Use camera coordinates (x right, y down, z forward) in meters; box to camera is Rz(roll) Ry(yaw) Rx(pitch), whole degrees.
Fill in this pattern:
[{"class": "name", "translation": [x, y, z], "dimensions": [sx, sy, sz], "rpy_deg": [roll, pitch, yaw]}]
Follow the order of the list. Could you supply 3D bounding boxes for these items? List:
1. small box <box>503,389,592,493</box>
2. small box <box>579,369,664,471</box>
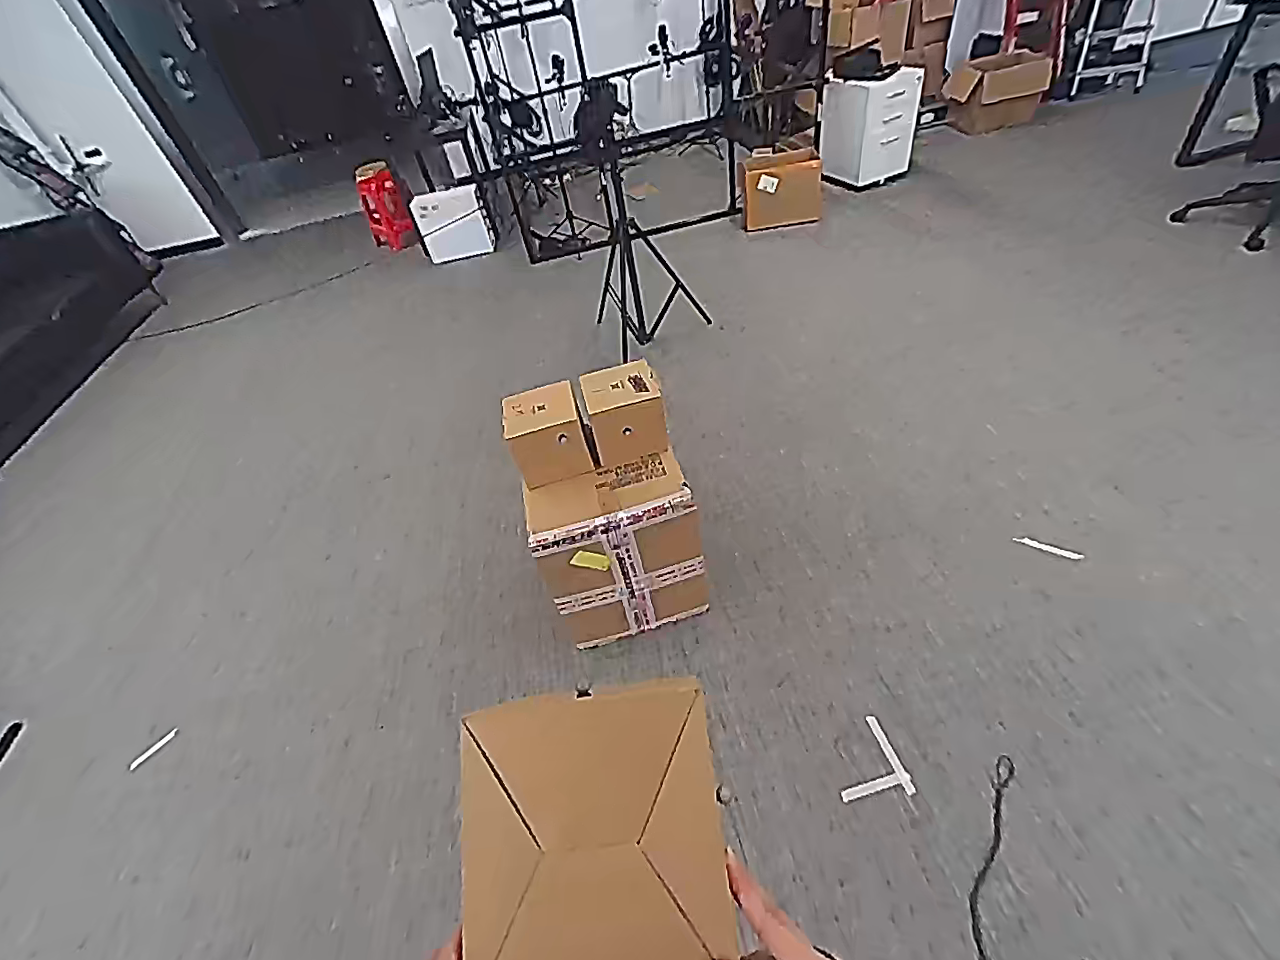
[{"class": "small box", "translation": [-0.225, -0.094, 1.339], "dimensions": [0.179, 0.176, 0.168], "rpy_deg": [-17, 44, -1]}, {"class": "small box", "translation": [-0.042, -0.148, 1.352], "dimensions": [0.179, 0.176, 0.168], "rpy_deg": [-15, 45, -3]}]
